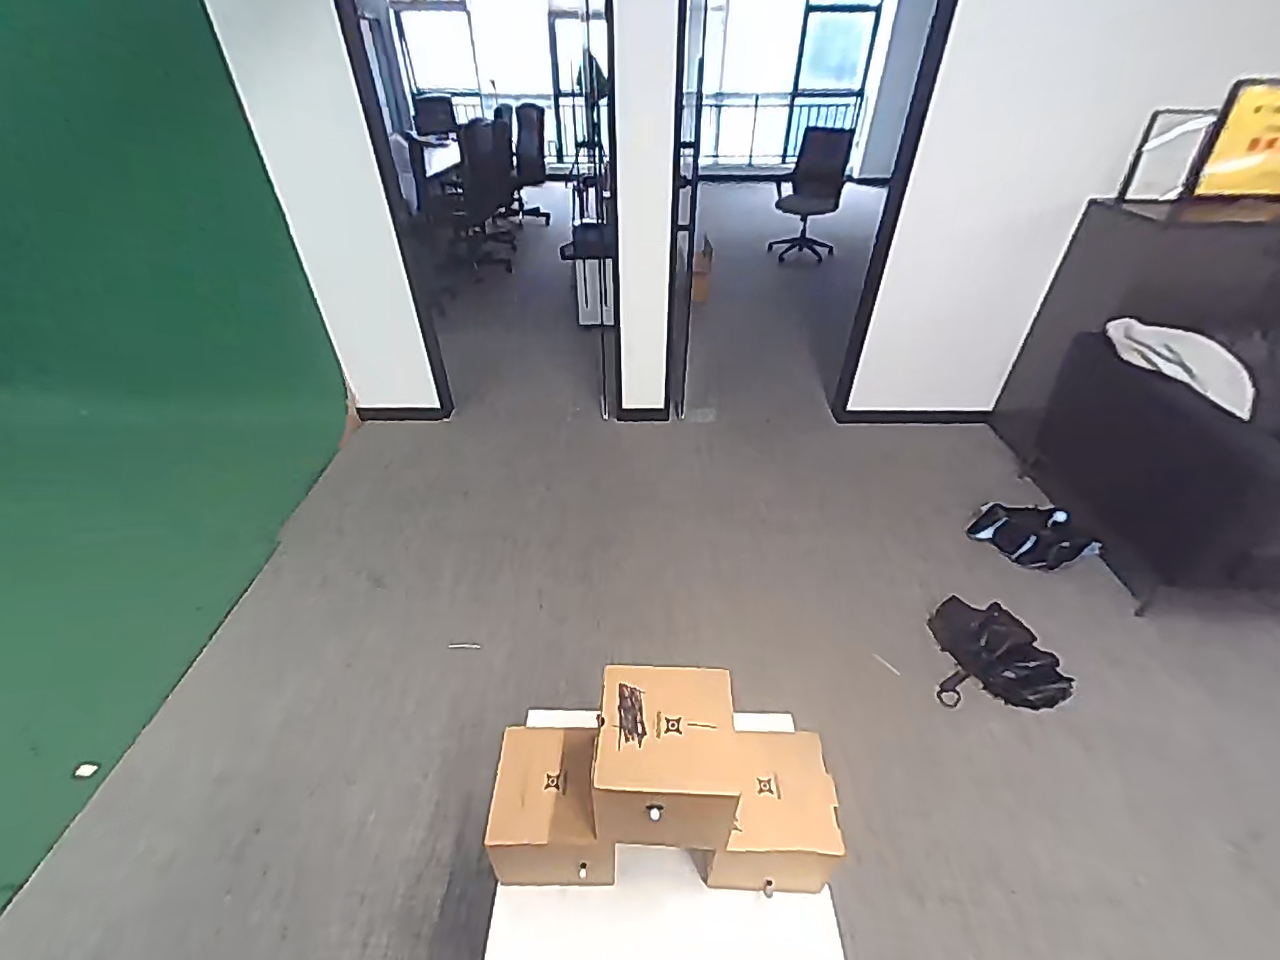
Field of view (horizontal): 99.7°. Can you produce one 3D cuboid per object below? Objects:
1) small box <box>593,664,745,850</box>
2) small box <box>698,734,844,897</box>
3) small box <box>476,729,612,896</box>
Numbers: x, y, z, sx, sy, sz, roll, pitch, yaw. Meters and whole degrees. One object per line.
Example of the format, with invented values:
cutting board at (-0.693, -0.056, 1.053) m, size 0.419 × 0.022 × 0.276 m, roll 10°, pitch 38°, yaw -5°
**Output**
small box at (0.032, 0.368, 0.720) m, size 0.179 × 0.176 × 0.168 m, roll 3°, pitch 37°, yaw -1°
small box at (0.181, 0.507, 0.820) m, size 0.179 × 0.176 × 0.168 m, roll 1°, pitch 38°, yaw -1°
small box at (-0.131, 0.496, 0.809) m, size 0.179 × 0.176 × 0.168 m, roll 1°, pitch 36°, yaw -4°
